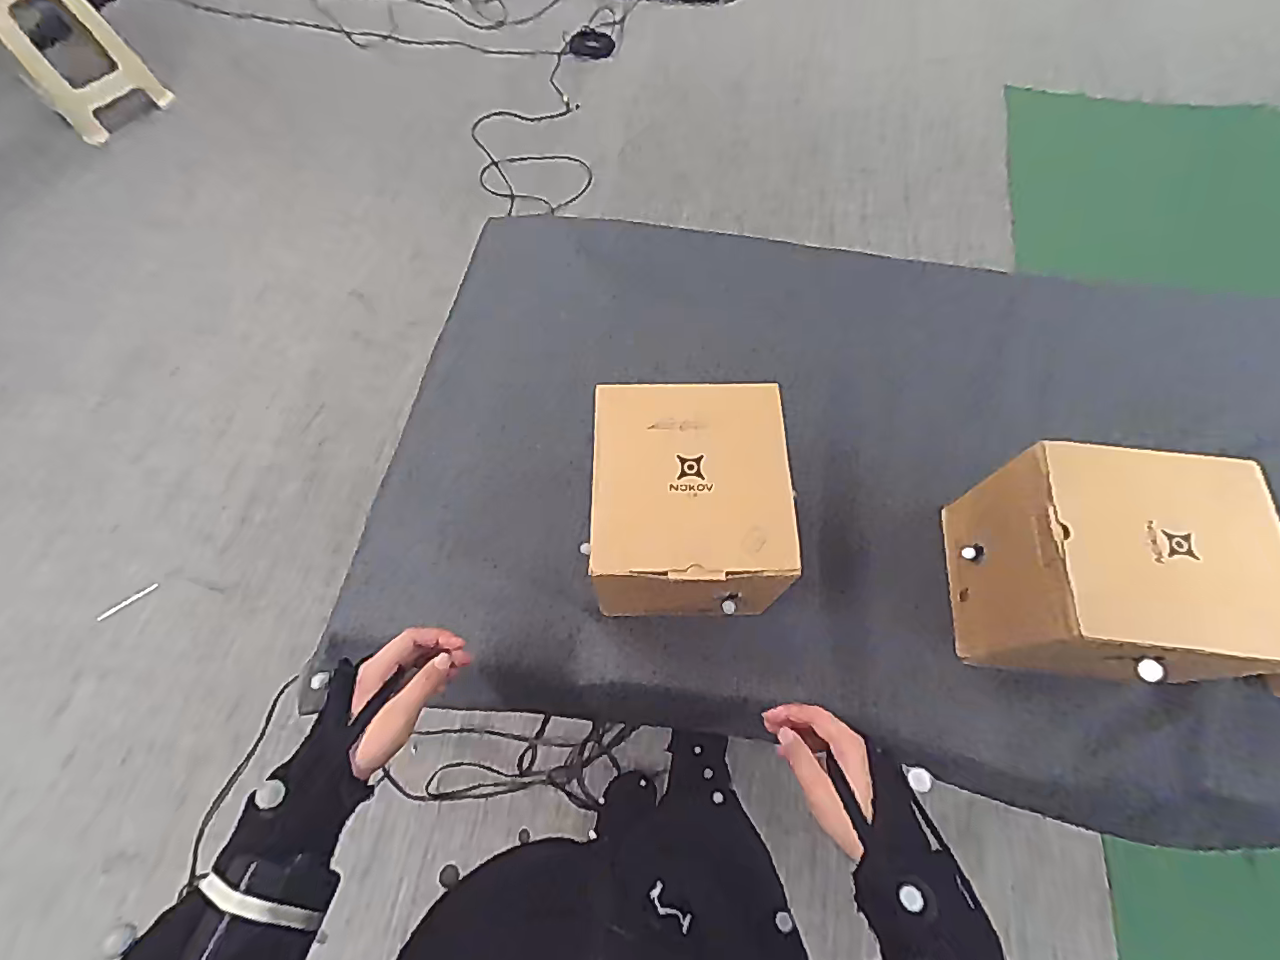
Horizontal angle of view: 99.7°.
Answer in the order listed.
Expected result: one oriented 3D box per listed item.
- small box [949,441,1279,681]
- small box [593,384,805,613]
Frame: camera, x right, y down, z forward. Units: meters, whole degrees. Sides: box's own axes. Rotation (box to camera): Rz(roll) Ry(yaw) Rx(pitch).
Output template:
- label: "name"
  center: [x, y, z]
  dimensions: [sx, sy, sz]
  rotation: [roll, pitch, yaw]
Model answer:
- label: "small box"
  center: [0.415, 0.082, 0.489]
  dimensions: [0.179, 0.176, 0.168]
  rotation: [6, 65, 5]
- label: "small box"
  center: [0.045, 0.027, 0.519]
  dimensions: [0.168, 0.176, 0.179]
  rotation: [0, 64, -1]
